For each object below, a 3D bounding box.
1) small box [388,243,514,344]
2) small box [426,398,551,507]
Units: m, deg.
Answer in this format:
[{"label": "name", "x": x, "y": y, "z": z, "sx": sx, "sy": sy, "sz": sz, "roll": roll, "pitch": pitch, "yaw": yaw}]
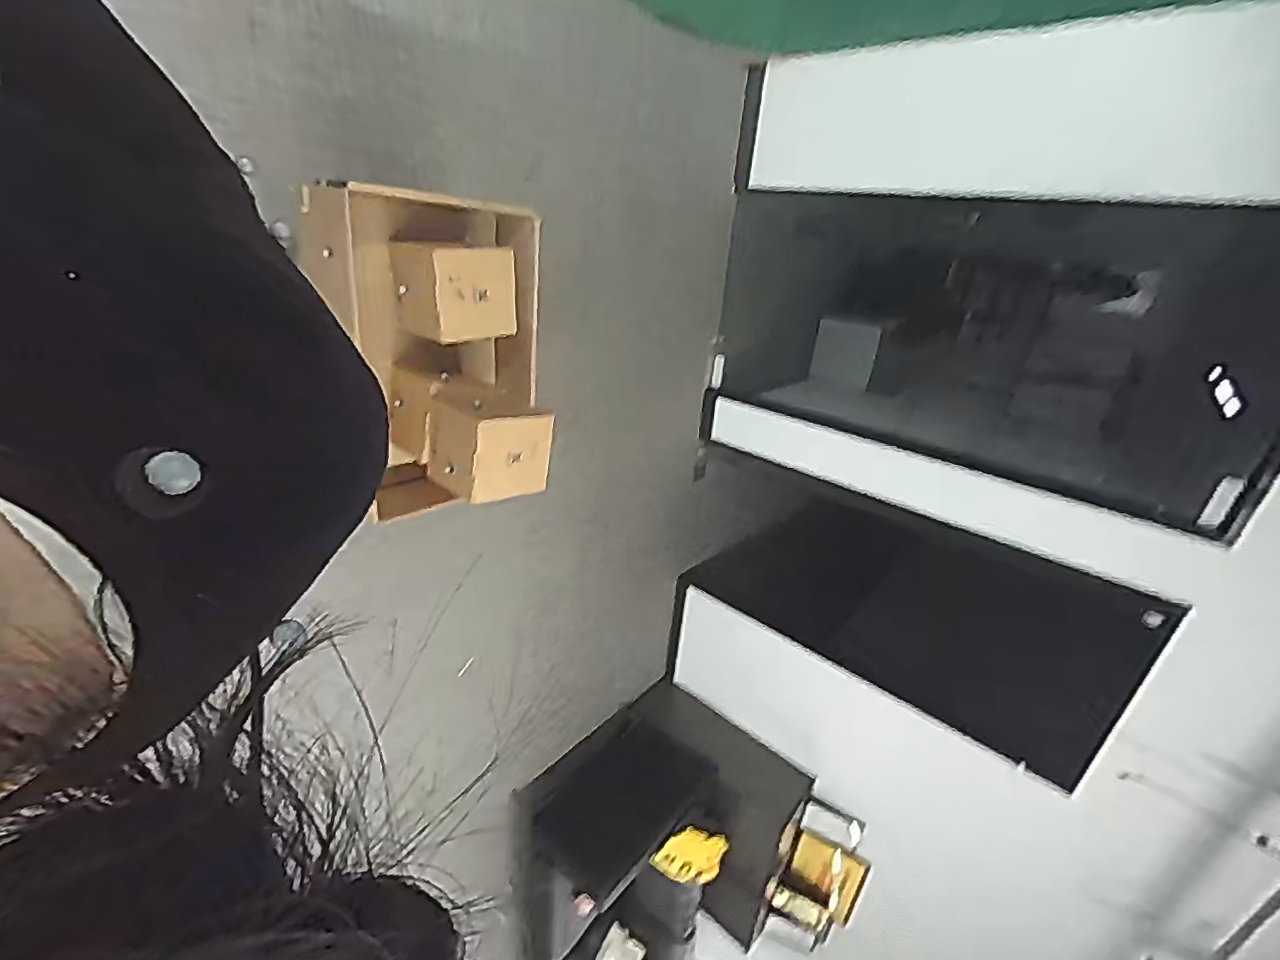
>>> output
[{"label": "small box", "x": -0.374, "y": -0.378, "z": 1.083, "sx": 0.179, "sy": 0.176, "sz": 0.168, "roll": -22, "pitch": 127, "yaw": -44}, {"label": "small box", "x": -0.307, "y": -0.062, "z": 1.080, "sx": 0.179, "sy": 0.176, "sz": 0.168, "roll": -12, "pitch": 120, "yaw": -49}]
